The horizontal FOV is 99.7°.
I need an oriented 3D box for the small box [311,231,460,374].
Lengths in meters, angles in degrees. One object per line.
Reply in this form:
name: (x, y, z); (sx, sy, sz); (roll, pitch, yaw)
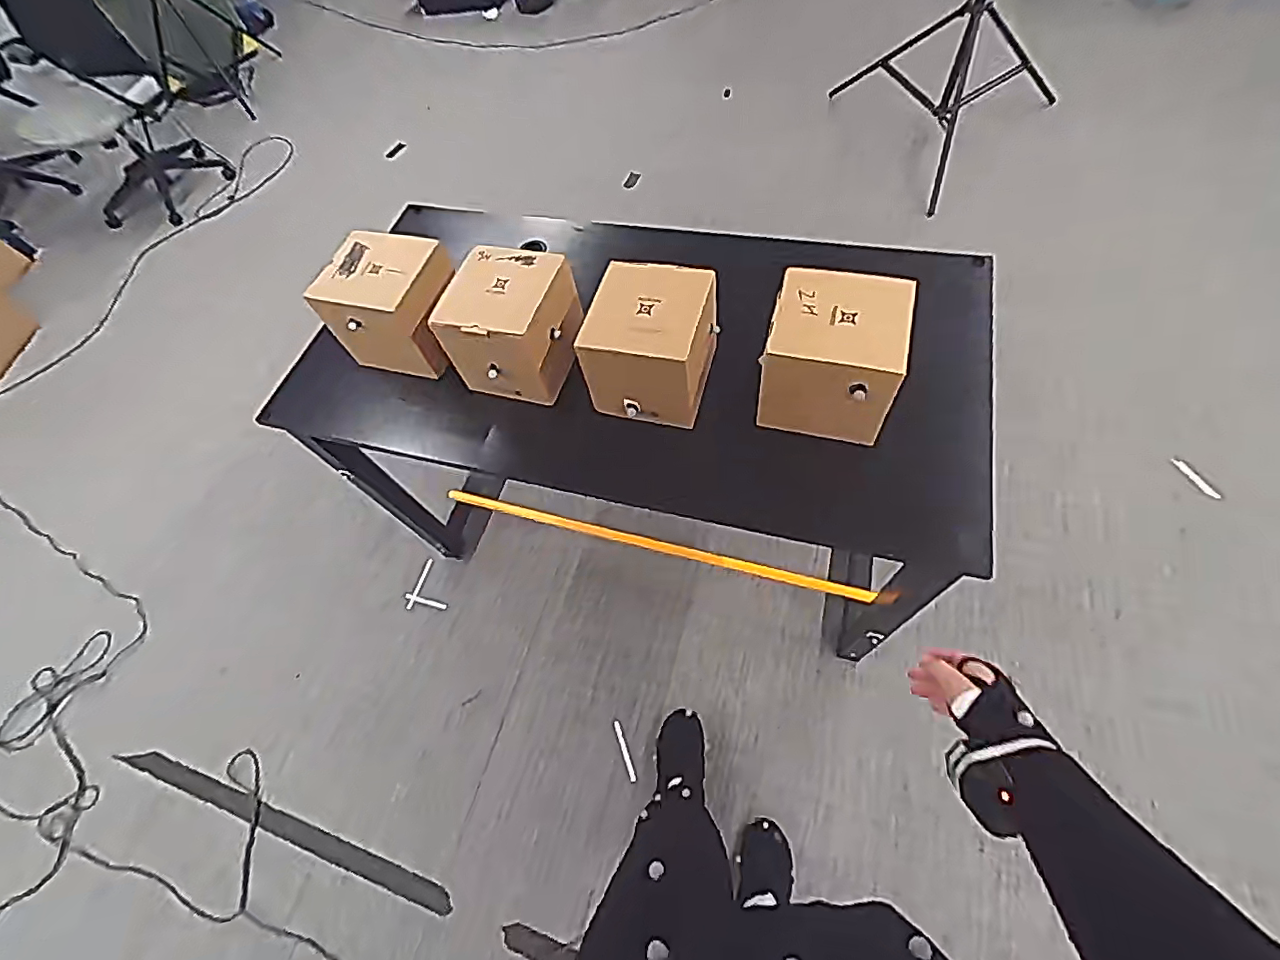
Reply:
small box: (-0.421, -0.310, 0.958); (0.179, 0.176, 0.168); (13, 65, 13)

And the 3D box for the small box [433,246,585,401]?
small box: (-0.203, -0.255, 0.901); (0.168, 0.176, 0.179); (13, 65, 13)

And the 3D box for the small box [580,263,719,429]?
small box: (0.024, -0.207, 0.847); (0.168, 0.176, 0.179); (11, 65, 14)

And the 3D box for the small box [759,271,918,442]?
small box: (0.281, -0.174, 0.791); (0.179, 0.176, 0.168); (13, 64, 15)
